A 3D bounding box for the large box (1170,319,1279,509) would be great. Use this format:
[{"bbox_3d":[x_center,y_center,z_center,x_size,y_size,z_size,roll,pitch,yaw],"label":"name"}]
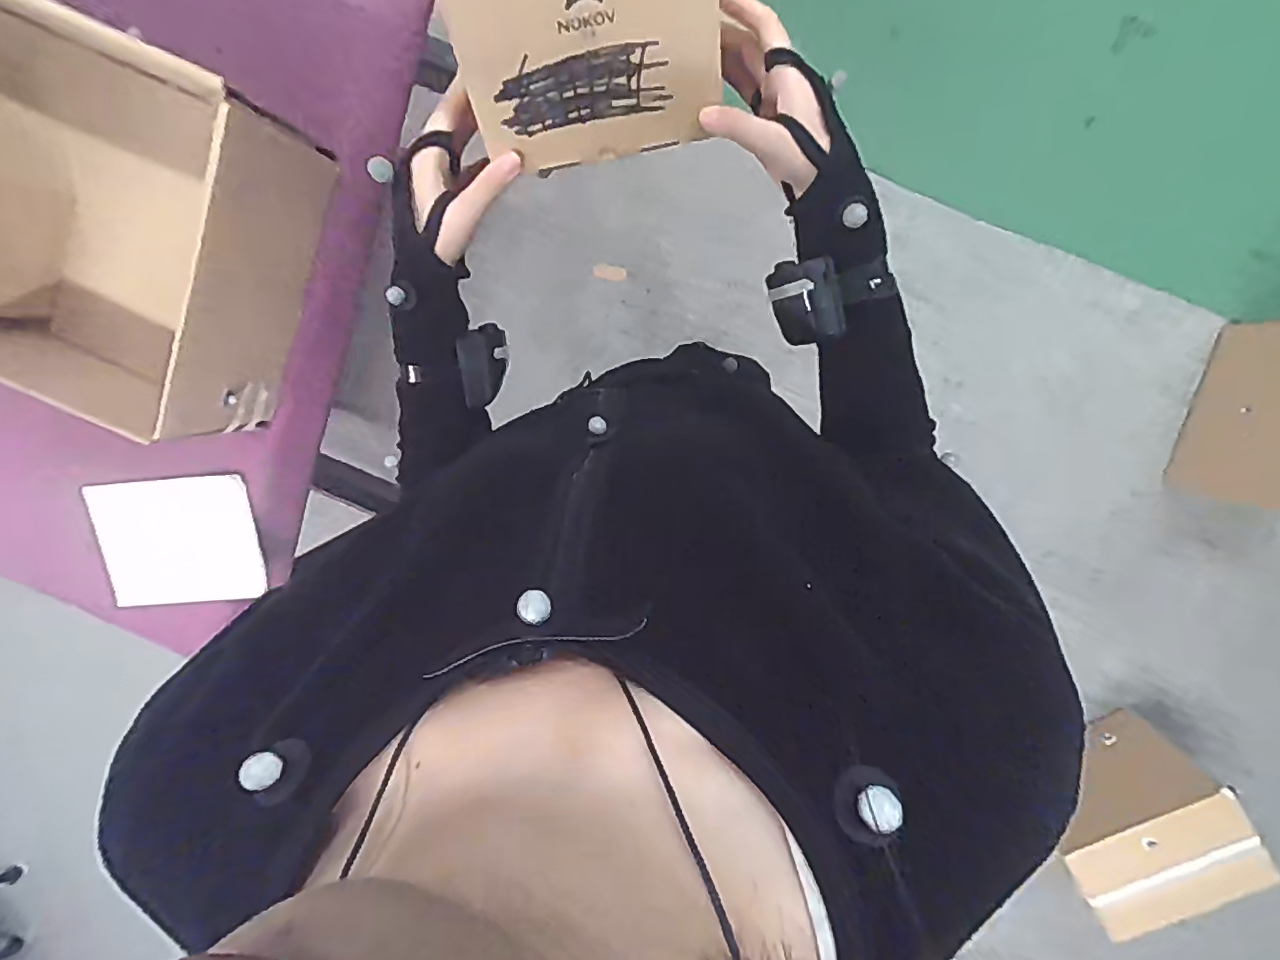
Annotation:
[{"bbox_3d":[1.521,-0.136,1.204,0.320,0.320,0.408,8,102,2],"label":"large box"}]
